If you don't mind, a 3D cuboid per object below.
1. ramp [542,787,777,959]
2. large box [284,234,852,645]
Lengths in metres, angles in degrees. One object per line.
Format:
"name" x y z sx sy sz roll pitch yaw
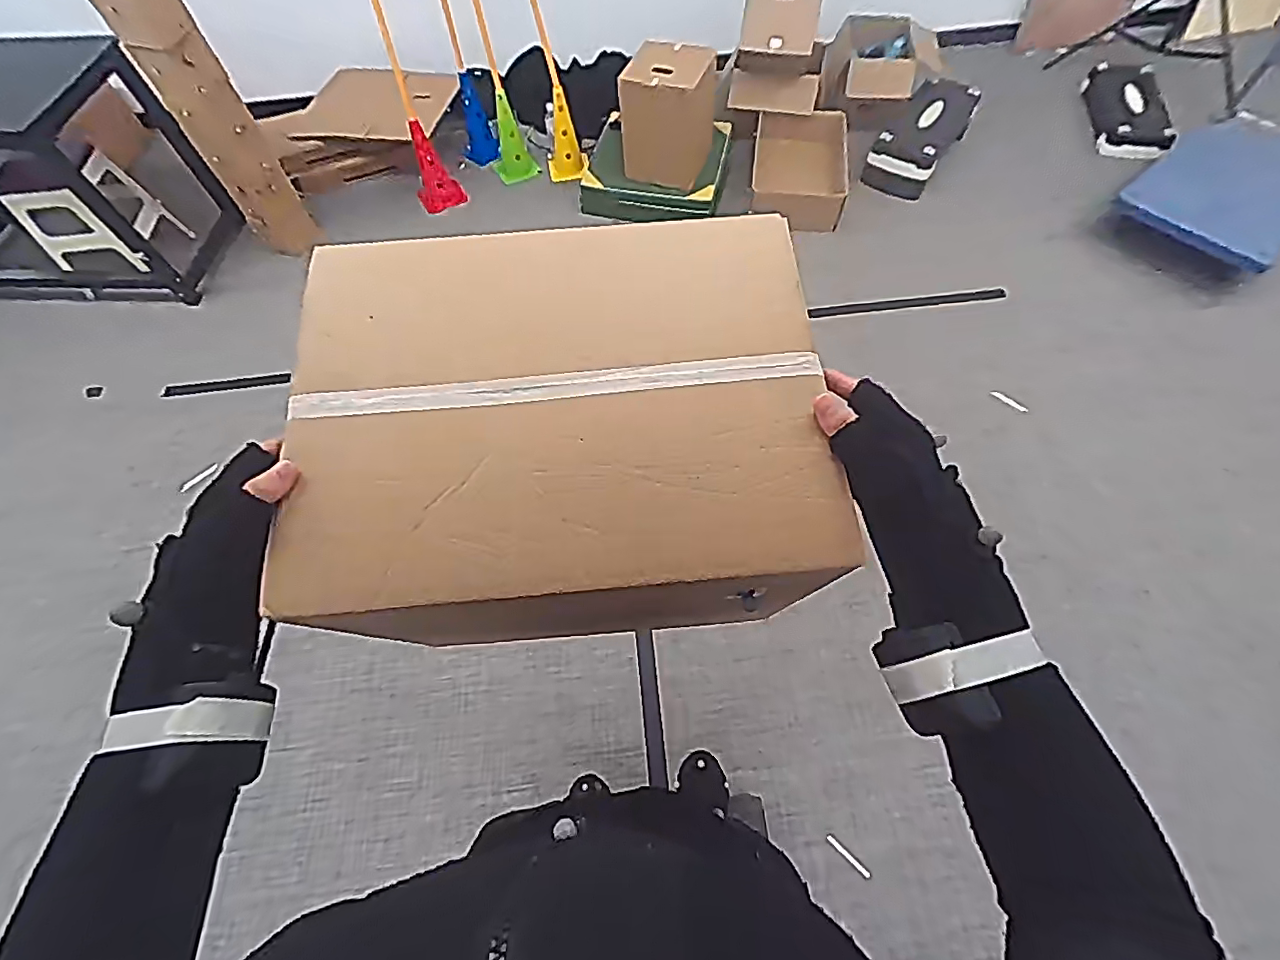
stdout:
"ramp" 0.072 1.208 1.096 0.509 0.206 0.991 -7 62 -4
"large box" -0.059 -0.010 0.563 0.408 0.320 0.320 -4 69 -2
